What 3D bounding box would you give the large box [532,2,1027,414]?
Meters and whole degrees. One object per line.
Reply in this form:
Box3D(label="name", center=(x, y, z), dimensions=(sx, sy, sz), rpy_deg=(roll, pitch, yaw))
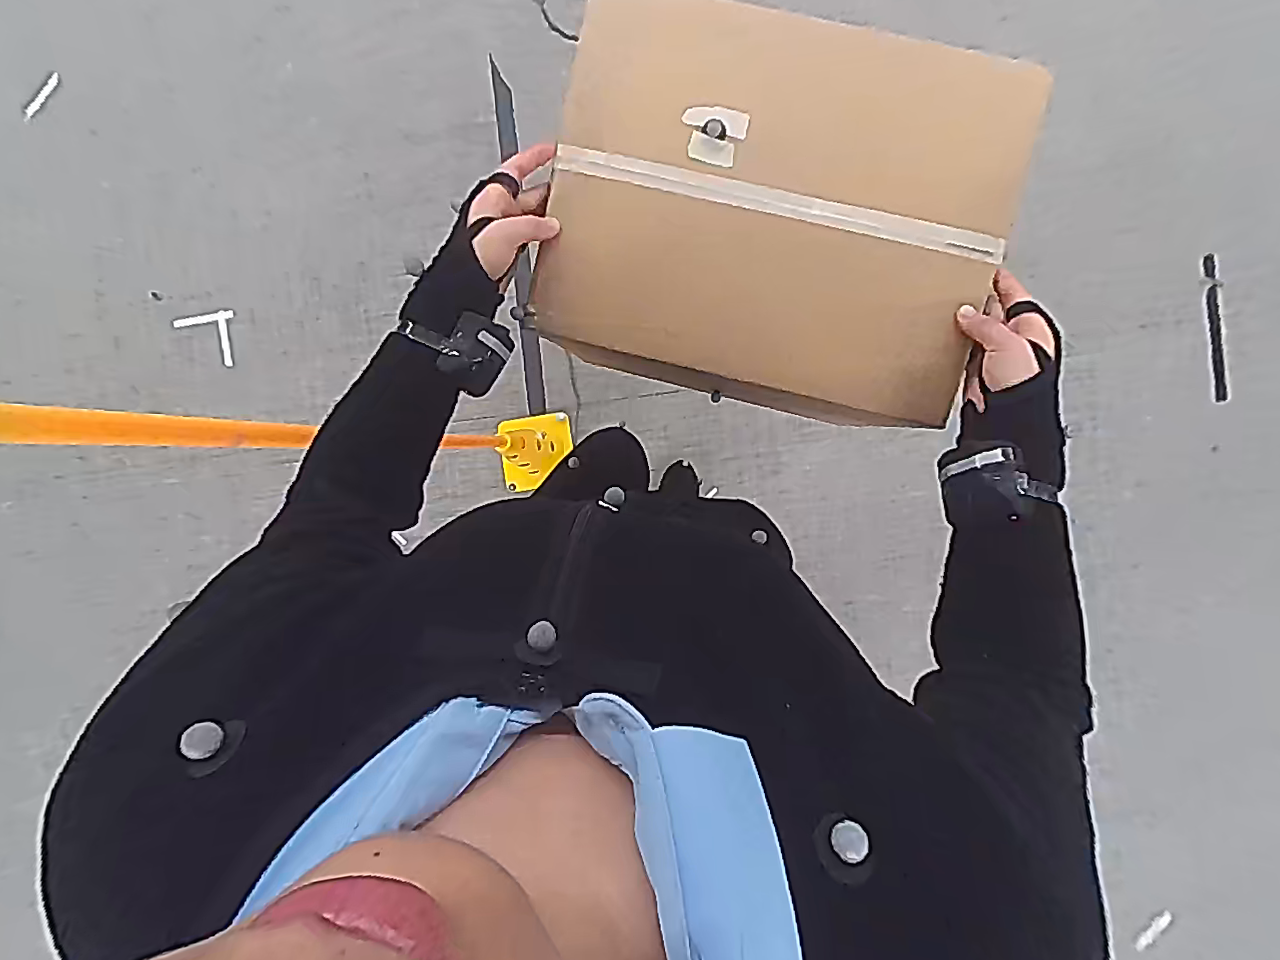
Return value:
Box3D(label="large box", center=(0.130, -0.266, 0.648), dimensions=(0.408, 0.320, 0.320), rpy_deg=(13, 96, 3))
